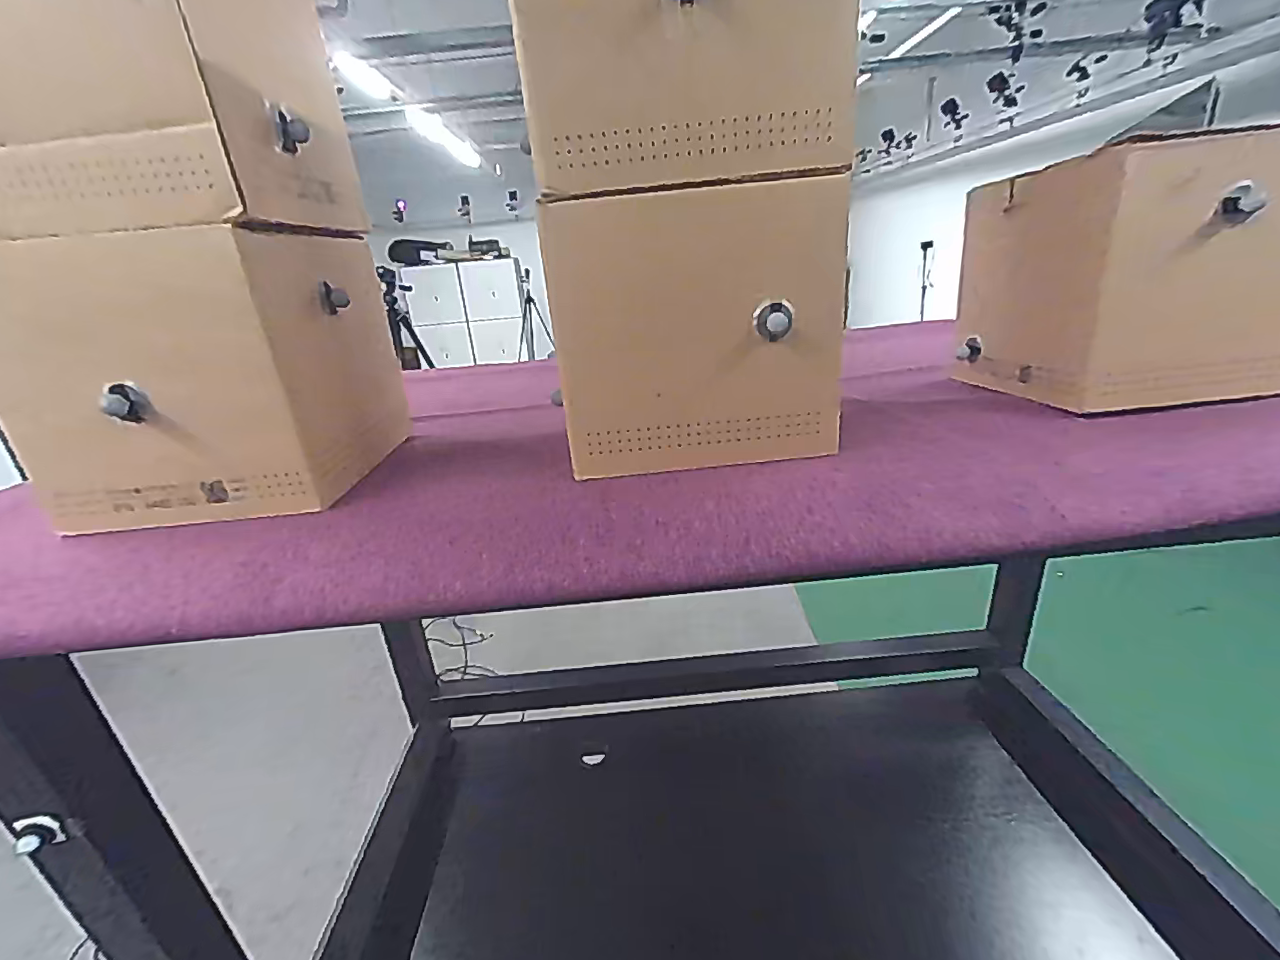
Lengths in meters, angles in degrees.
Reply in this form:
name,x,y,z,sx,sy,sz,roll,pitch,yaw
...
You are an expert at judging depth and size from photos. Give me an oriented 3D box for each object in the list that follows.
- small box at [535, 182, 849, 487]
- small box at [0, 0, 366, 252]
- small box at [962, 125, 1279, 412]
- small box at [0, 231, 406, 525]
name,x,y,z,sx,sy,sz,roll,pitch,yaw
small box,0.032,-0.106,0.396,0.179,0.176,0.168,-7,21,-1
small box,-0.300,-0.225,0.324,0.179,0.176,0.168,-5,23,-2
small box,0.377,-0.152,0.418,0.179,0.176,0.168,-5,20,1
small box,-0.288,-0.075,0.385,0.168,0.176,0.179,-5,22,-2
